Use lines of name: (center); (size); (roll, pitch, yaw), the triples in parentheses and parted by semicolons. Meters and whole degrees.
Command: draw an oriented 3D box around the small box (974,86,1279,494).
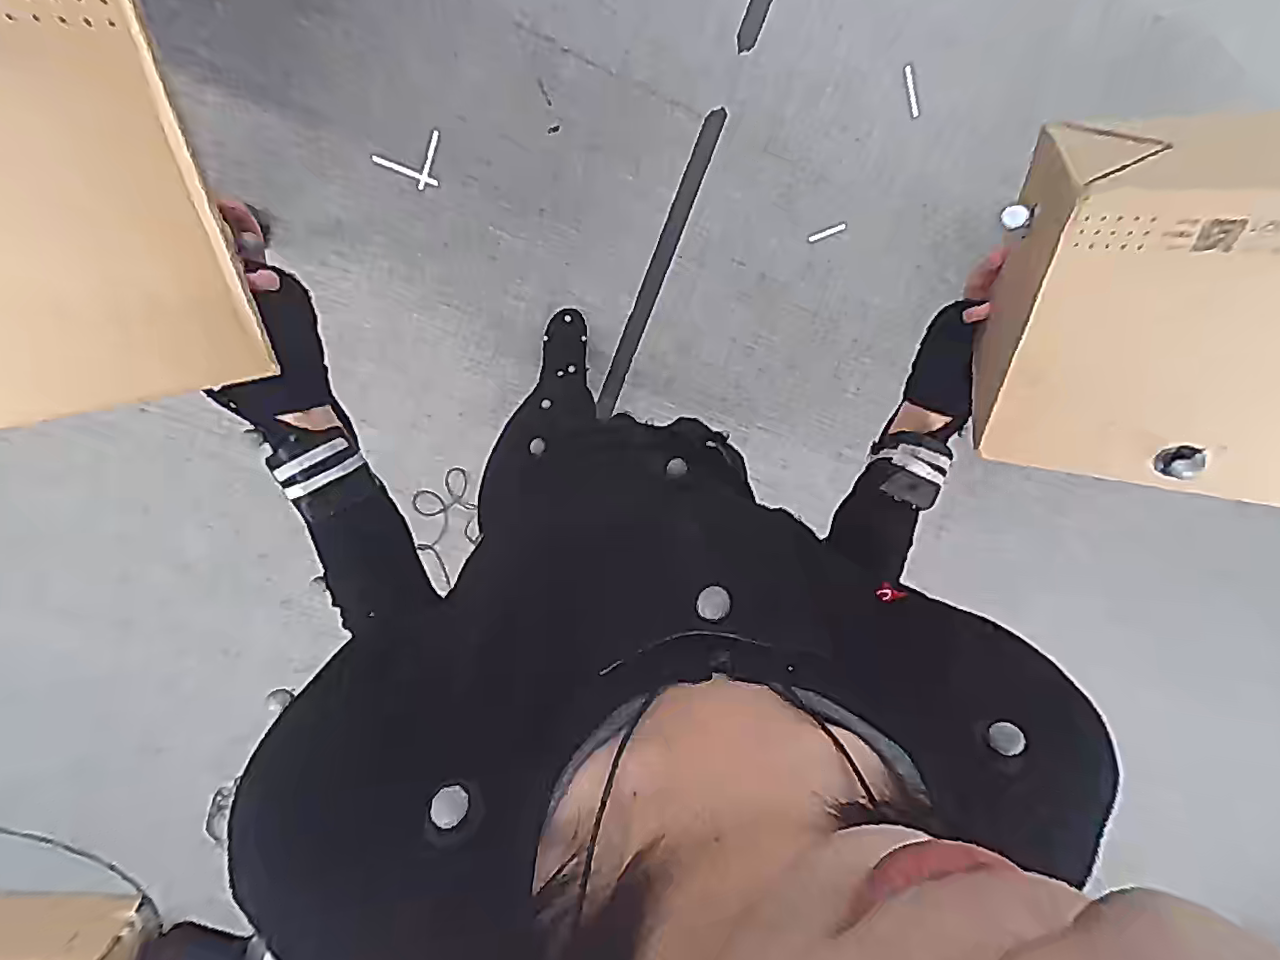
small box: (0.319, -0.122, 0.325); (0.168, 0.179, 0.176); (13, 135, 23)

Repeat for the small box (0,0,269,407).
small box: (-0.294, -0.144, 0.235); (0.168, 0.179, 0.176); (-22, 132, -26)
